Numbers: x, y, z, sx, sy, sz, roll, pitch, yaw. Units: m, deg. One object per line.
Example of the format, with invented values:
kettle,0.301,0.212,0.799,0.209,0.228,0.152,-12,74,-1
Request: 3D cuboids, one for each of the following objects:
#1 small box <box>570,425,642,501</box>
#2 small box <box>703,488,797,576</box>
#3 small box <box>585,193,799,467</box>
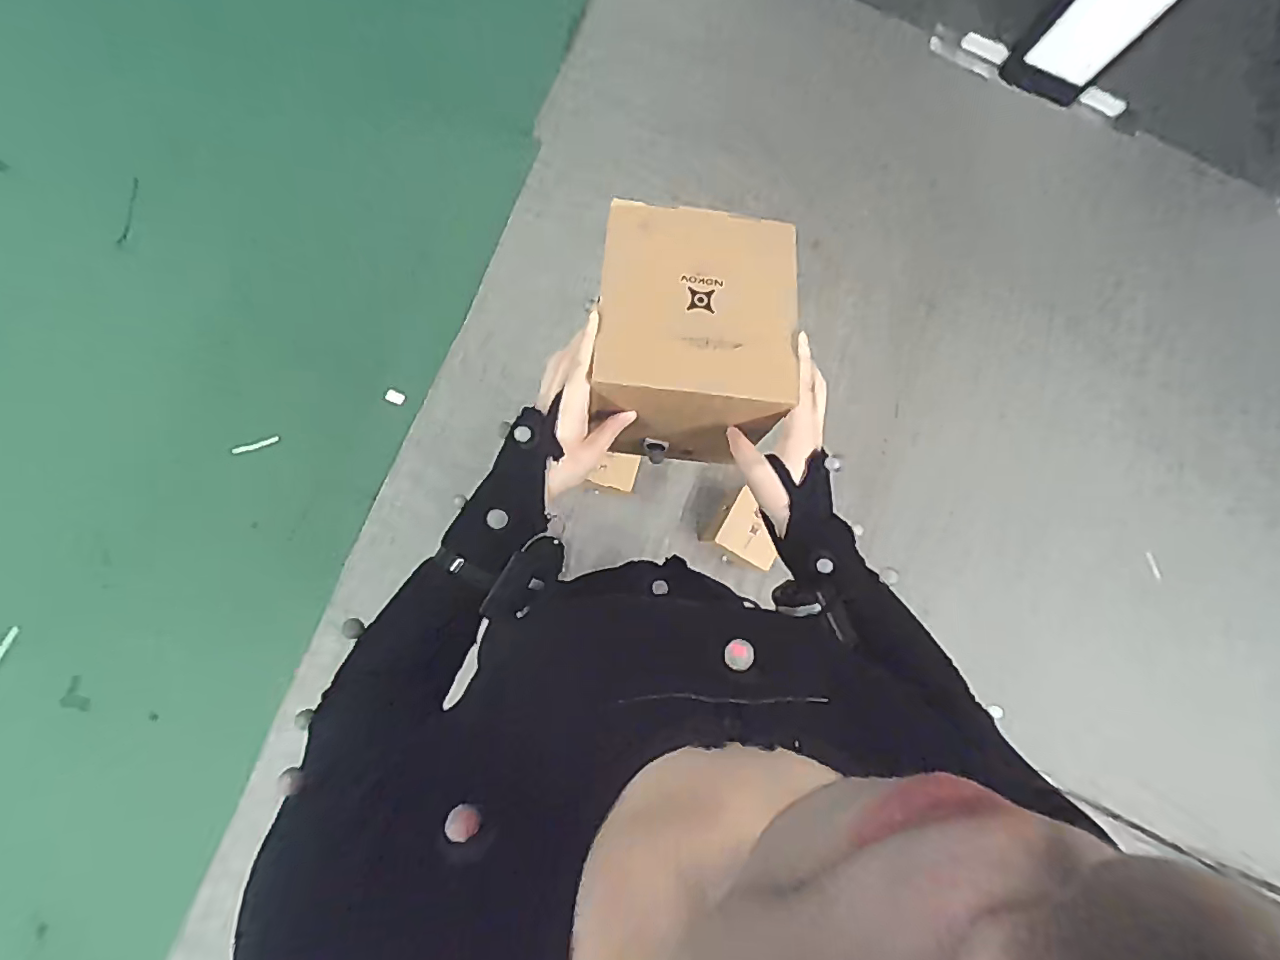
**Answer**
small box,-0.088,-0.055,1.453,0.168,0.176,0.179,18,80,-4
small box,0.290,0.145,1.474,0.168,0.176,0.179,31,79,-2
small box,0.039,-0.127,0.512,0.168,0.176,0.179,6,73,-5
